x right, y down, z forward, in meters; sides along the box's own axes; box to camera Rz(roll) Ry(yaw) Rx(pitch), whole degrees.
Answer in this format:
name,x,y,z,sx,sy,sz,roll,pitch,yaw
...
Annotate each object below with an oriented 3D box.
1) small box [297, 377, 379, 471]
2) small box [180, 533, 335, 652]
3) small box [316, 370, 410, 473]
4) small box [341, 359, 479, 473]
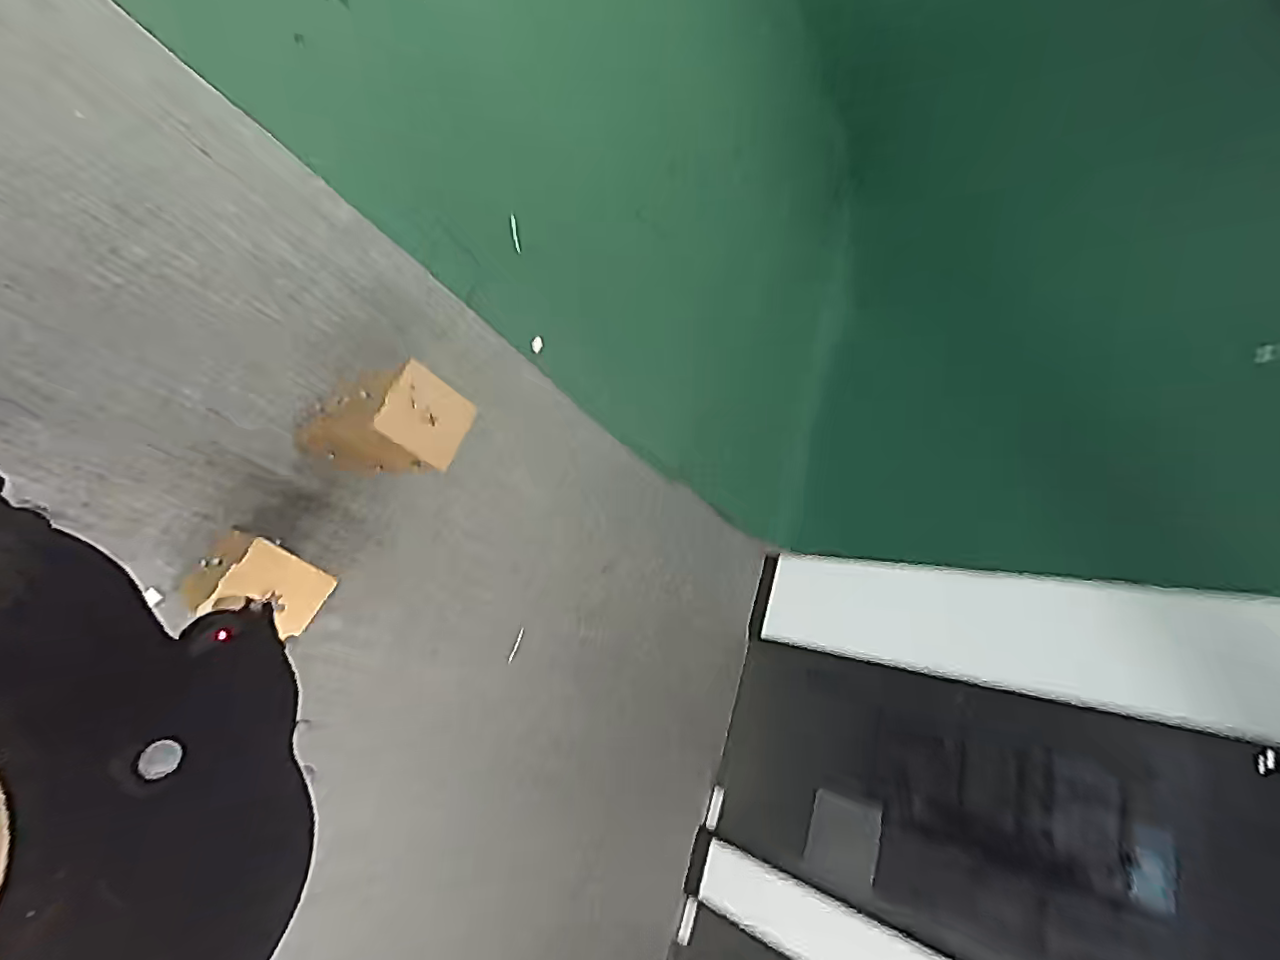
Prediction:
name,x,y,z,sx,sy,sz,roll,pitch,yaw
small box,-0.722,-0.132,1.368,0.179,0.176,0.168,44,59,-37
small box,-0.765,0.216,1.082,0.179,0.176,0.168,48,57,-35
small box,-0.605,-0.130,1.256,0.179,0.176,0.168,41,60,-39
small box,-0.485,-0.129,1.142,0.179,0.176,0.168,42,59,-40
